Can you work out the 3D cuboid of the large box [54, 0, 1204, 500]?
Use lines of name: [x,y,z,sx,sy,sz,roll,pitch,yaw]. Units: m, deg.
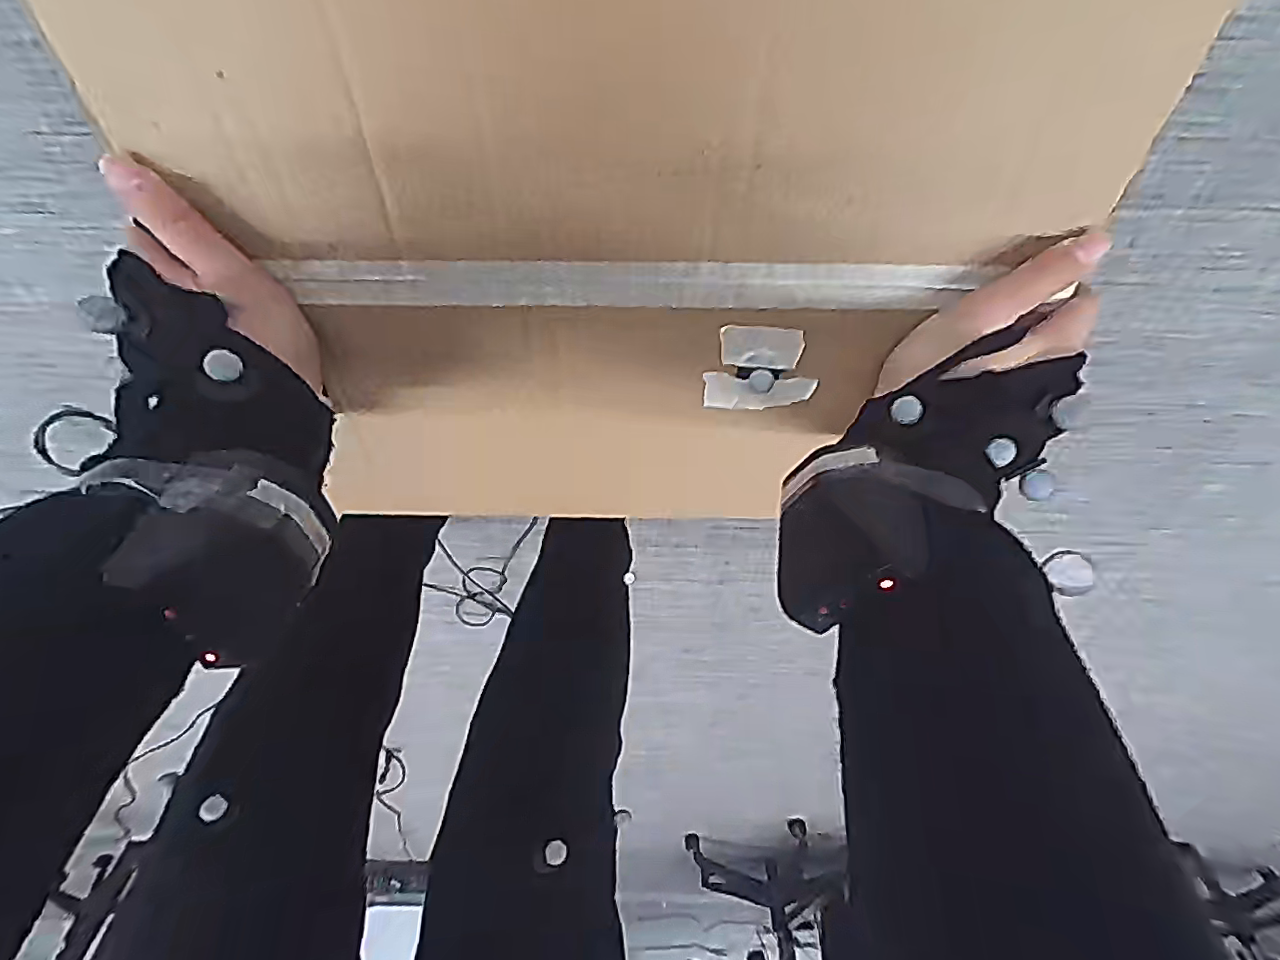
large box: [-0.006,-0.202,0.357,0.408,0.320,0.320,0,135,0]
